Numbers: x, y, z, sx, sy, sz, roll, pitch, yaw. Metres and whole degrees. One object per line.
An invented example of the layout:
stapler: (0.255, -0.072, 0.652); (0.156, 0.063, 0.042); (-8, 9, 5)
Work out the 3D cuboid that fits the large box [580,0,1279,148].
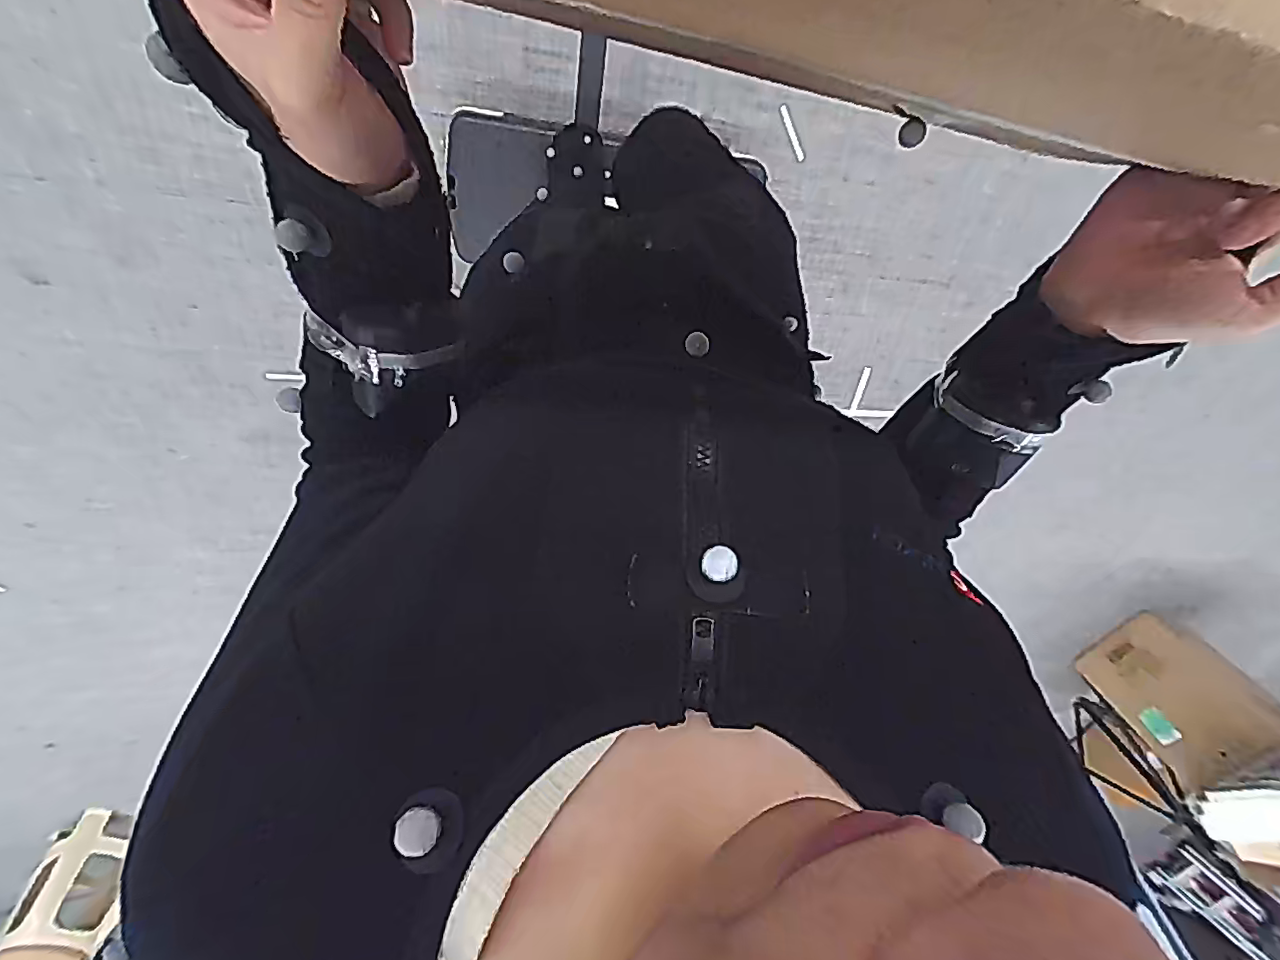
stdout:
large box: (0.105, -0.294, 0.114); (0.408, 0.320, 0.320); (6, 126, -10)
